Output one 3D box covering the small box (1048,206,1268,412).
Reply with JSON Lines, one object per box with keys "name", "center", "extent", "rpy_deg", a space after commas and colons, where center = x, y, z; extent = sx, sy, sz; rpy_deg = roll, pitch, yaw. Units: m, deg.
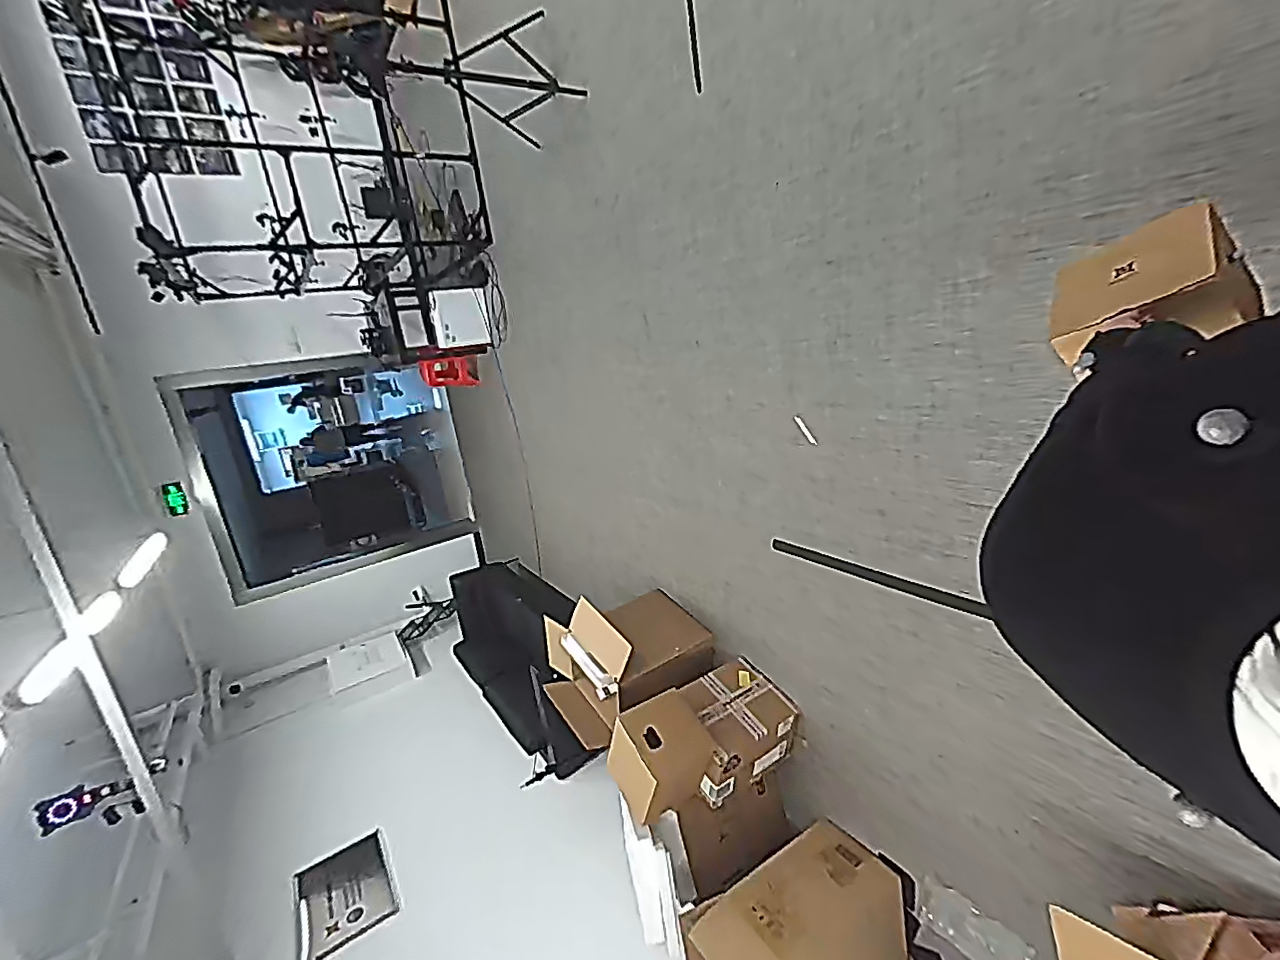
{"name": "small box", "center": [0.688, -0.213, 0.726], "extent": [0.176, 0.179, 0.168], "rpy_deg": [40, 149, -17]}
